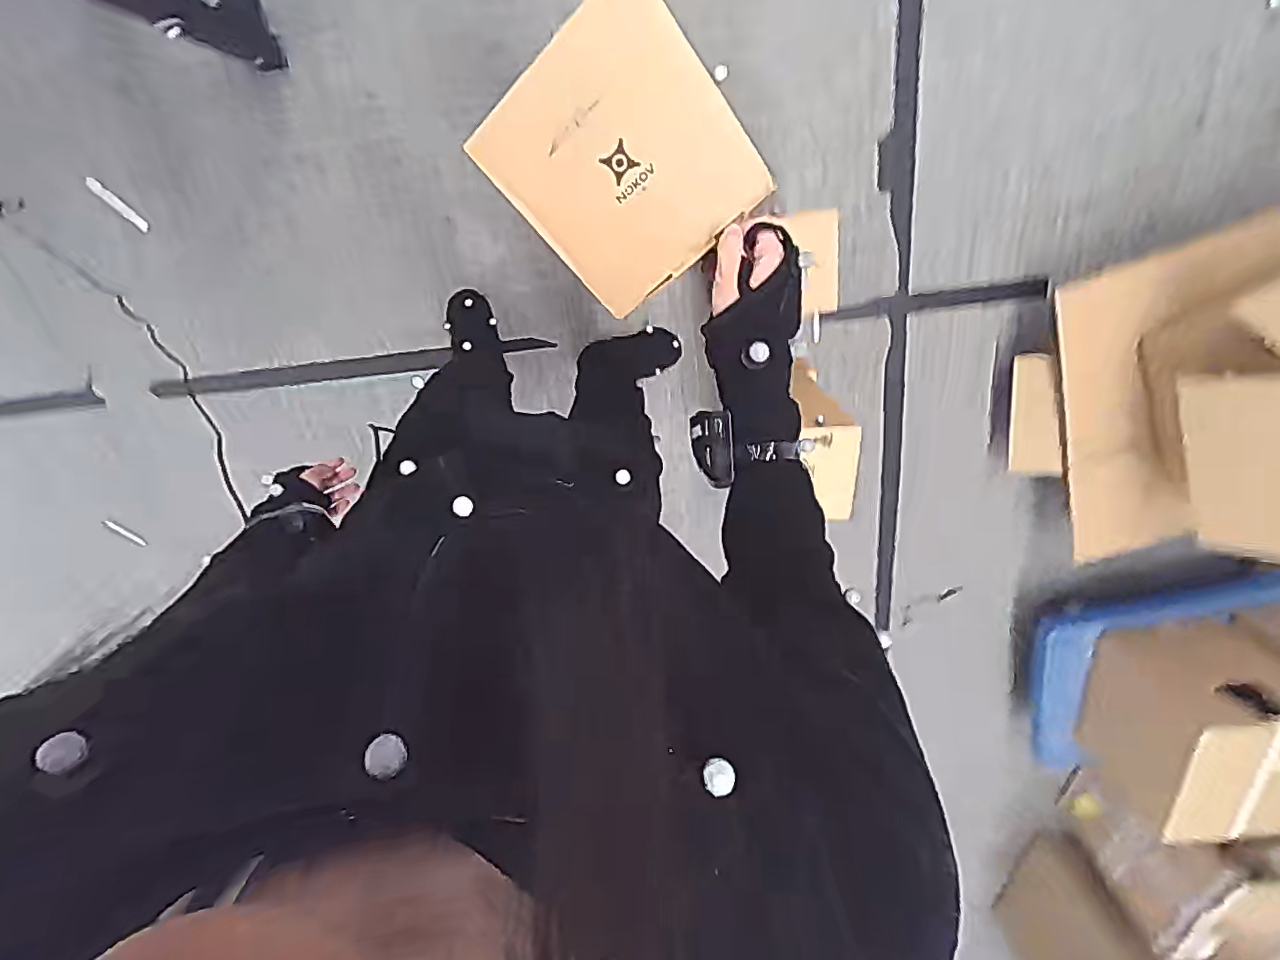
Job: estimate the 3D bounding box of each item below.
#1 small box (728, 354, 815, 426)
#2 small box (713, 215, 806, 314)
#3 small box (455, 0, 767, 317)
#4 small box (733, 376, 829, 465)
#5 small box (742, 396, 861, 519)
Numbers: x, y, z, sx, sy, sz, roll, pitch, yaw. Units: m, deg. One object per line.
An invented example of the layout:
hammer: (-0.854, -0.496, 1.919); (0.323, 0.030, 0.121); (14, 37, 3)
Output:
small box: (0.307, -0.195, 1.290); (0.179, 0.176, 0.168); (-7, 116, 3)
small box: (0.249, -0.465, 1.162); (0.168, 0.176, 0.179); (-5, 116, 3)
small box: (-0.020, -0.281, 0.463); (0.168, 0.176, 0.179); (-36, 119, 22)
small box: (0.289, -0.117, 1.145); (0.168, 0.176, 0.179); (-4, 116, 3)
small box: (0.285, -0.045, 0.998); (0.168, 0.176, 0.179); (-1, 117, 1)
